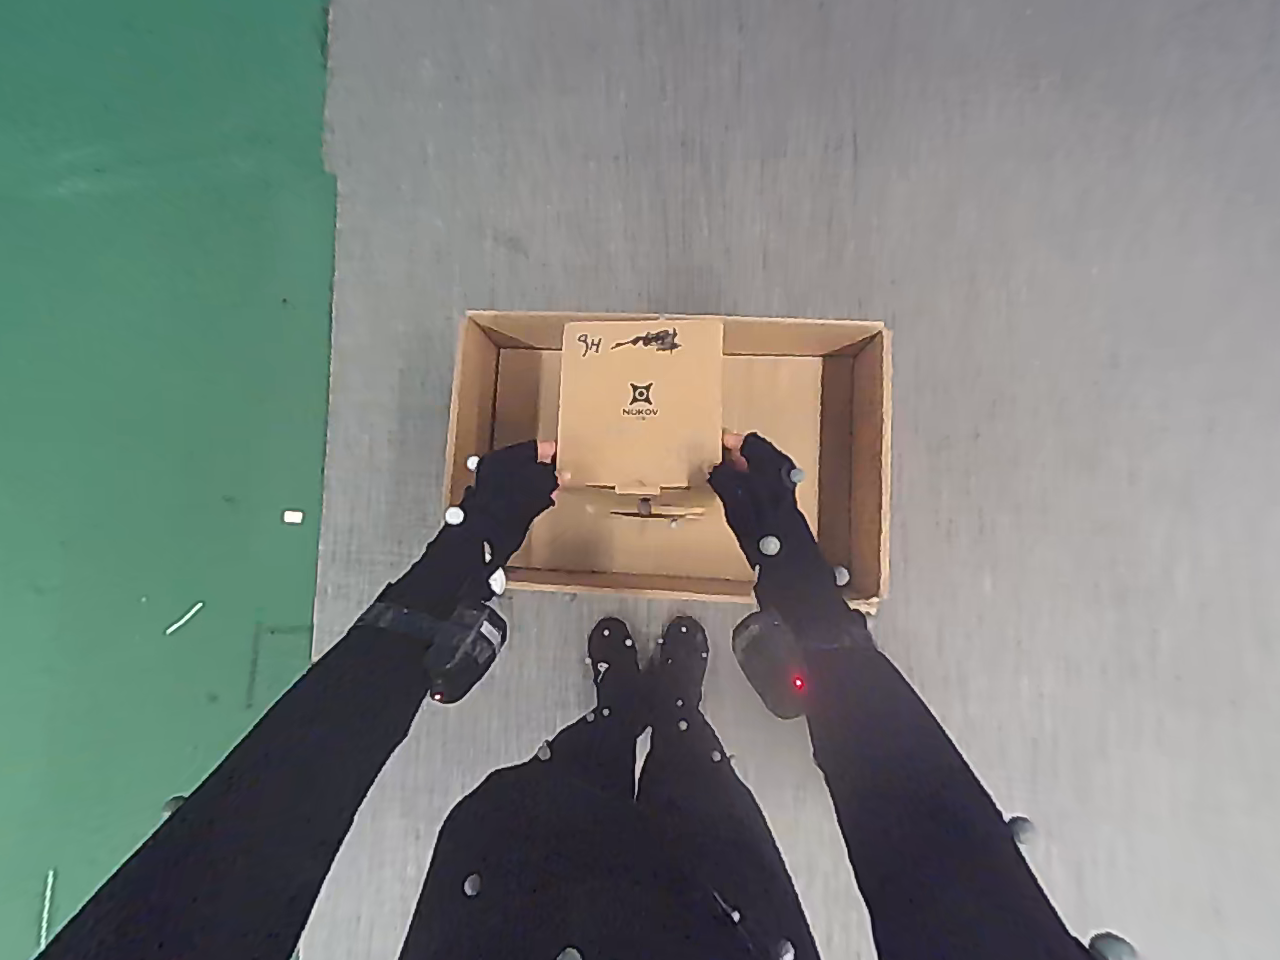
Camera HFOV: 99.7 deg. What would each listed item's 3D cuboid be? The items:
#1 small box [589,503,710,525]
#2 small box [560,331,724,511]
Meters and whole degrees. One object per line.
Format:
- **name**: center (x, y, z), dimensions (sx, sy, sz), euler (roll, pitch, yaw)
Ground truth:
- **small box**: center (0.021, -0.023, 0.811), dimensions (0.168, 0.176, 0.179), euler (1, 83, 3)
- **small box**: center (0.011, -0.057, 0.626), dimensions (0.168, 0.176, 0.179), euler (1, 82, 6)
